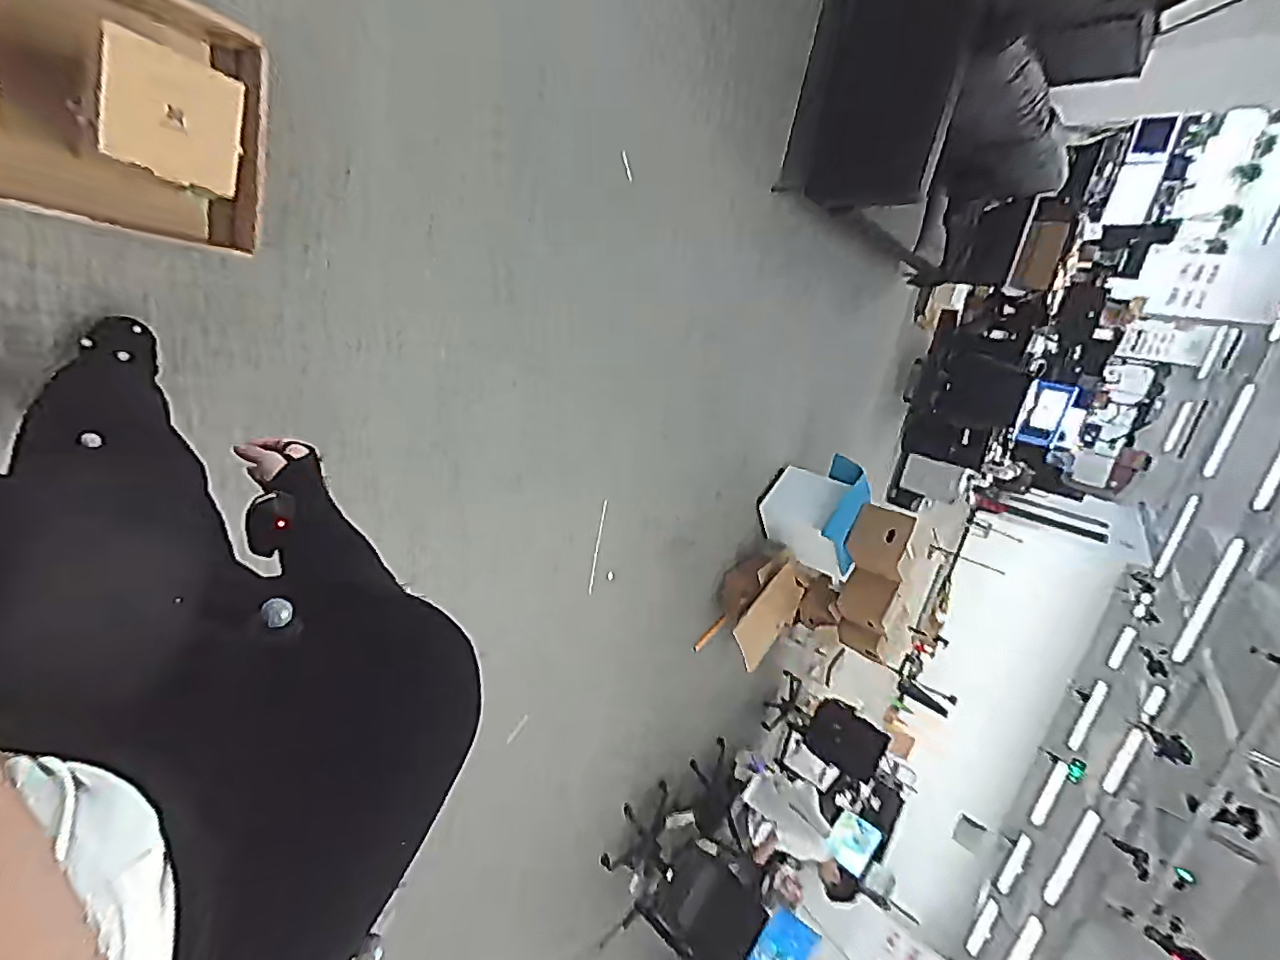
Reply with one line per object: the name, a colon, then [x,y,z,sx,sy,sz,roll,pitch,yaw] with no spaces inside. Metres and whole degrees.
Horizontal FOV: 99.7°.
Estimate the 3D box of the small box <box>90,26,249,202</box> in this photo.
small box: [-0.767,-0.576,0.879,0.168,0.176,0.179,1,107,-51]
